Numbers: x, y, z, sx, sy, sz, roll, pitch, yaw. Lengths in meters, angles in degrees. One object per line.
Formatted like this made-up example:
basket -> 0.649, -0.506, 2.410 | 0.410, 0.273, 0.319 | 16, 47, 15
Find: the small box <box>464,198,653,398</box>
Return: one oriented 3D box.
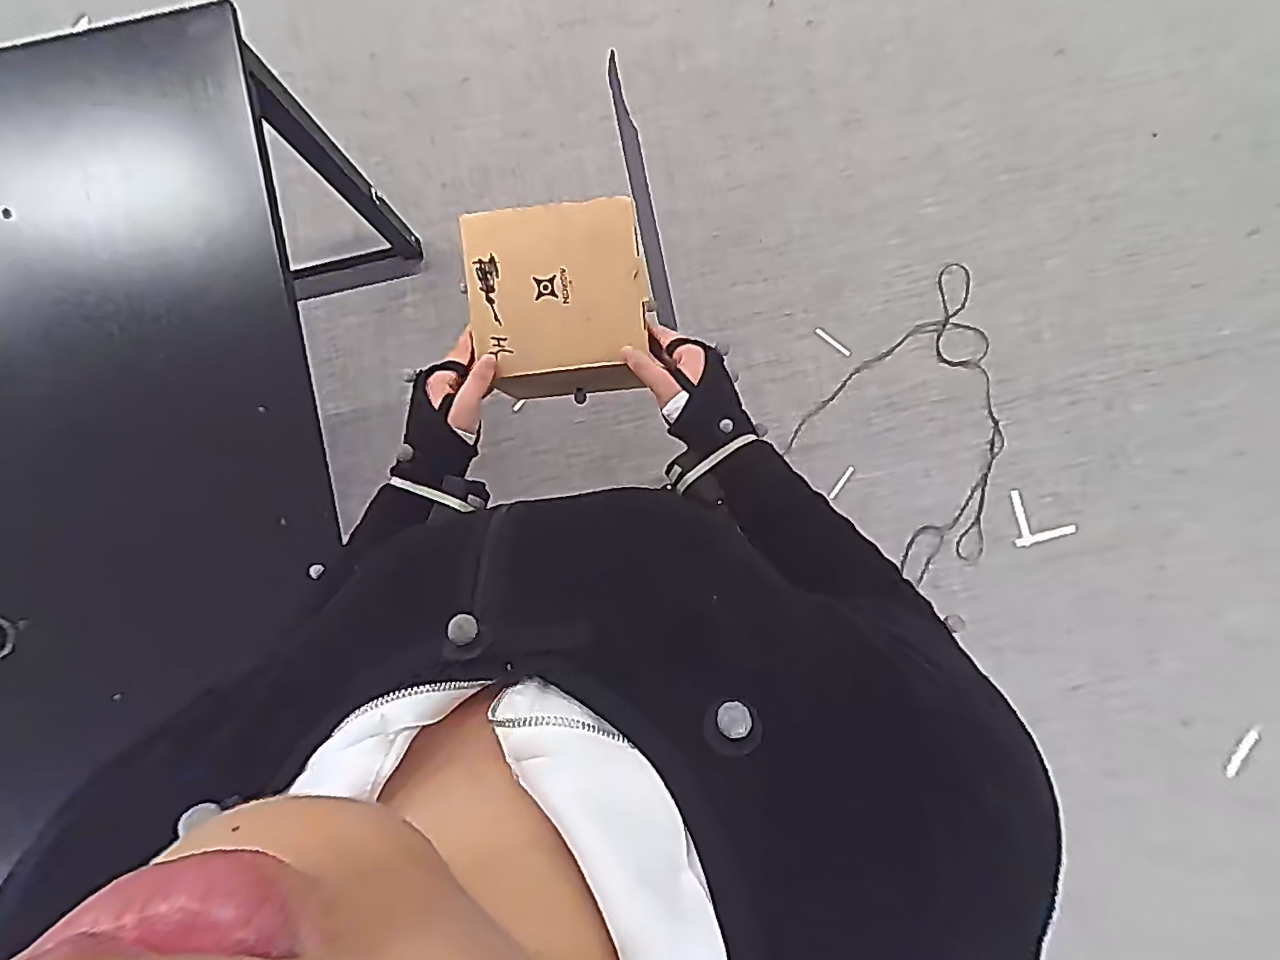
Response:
small box -> -0.083, -0.192, 0.613 | 0.179, 0.176, 0.168 | -6, 89, -1
